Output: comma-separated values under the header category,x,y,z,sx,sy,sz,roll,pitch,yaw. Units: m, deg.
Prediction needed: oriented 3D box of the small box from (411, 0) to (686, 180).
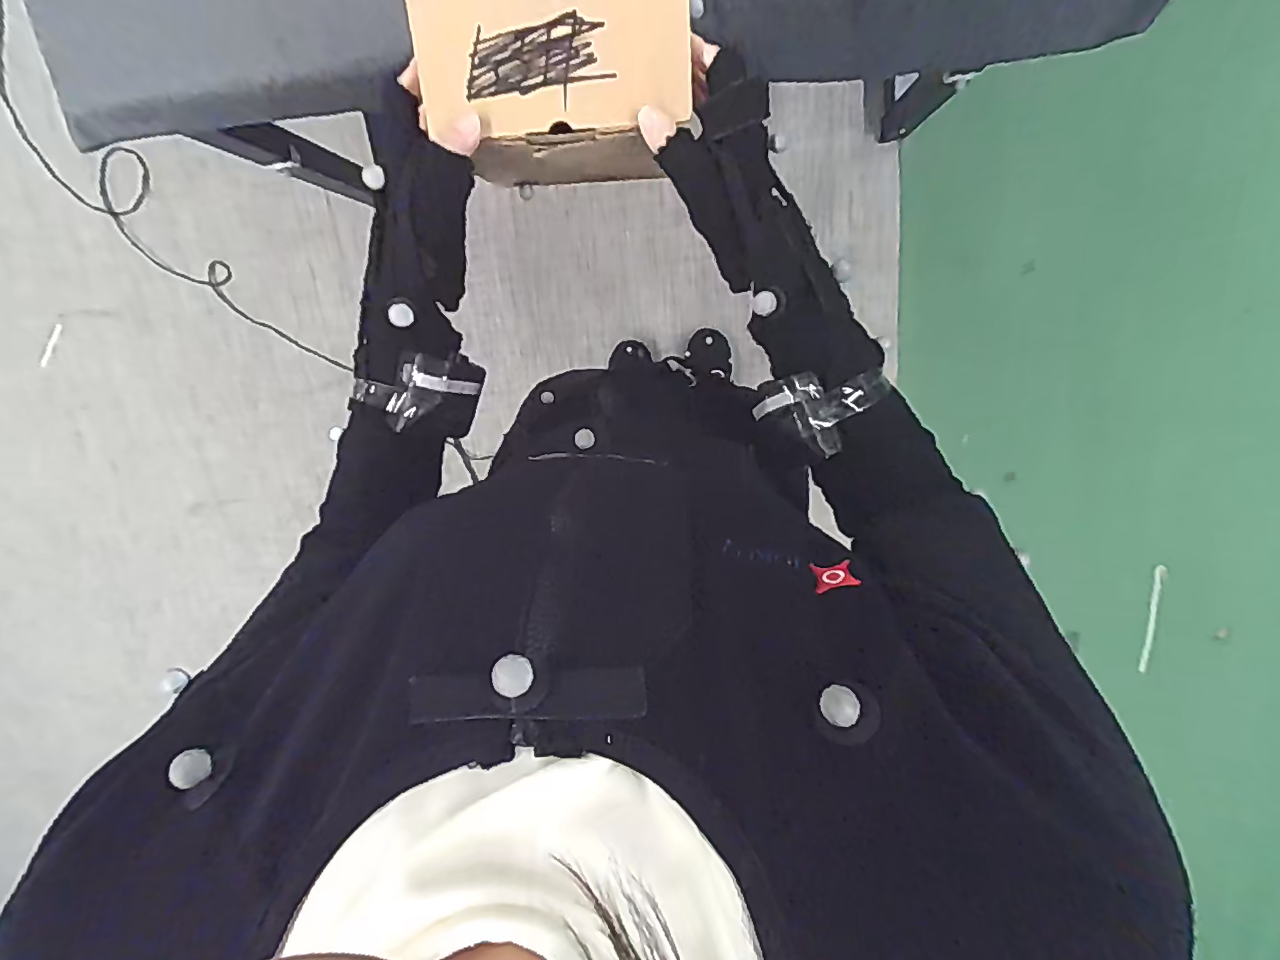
category,x,y,z,sx,sy,sz,roll,pitch,yaw
small box,-0.053,-0.325,0.388,0.168,0.176,0.179,-2,109,1
